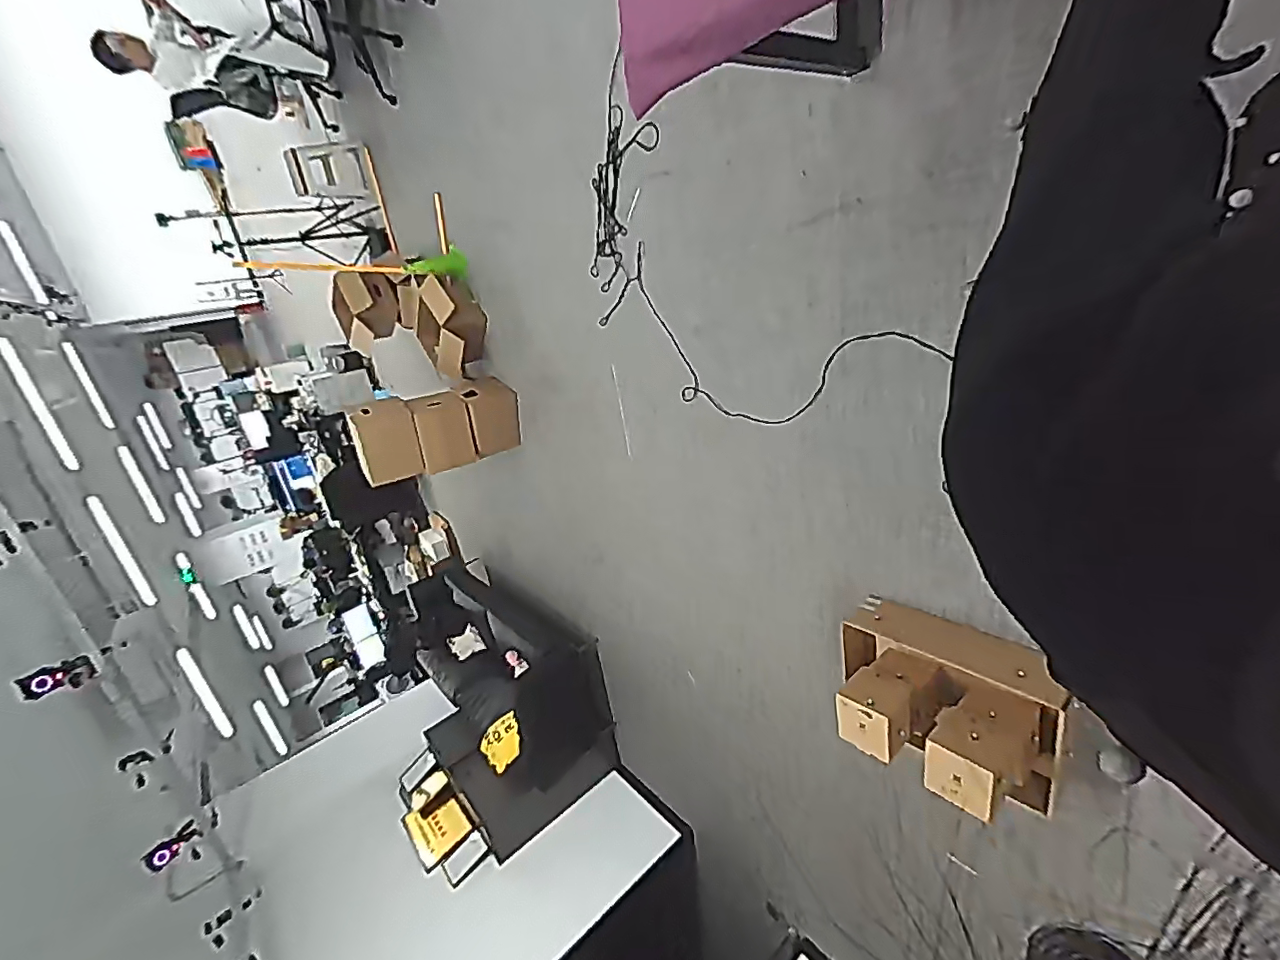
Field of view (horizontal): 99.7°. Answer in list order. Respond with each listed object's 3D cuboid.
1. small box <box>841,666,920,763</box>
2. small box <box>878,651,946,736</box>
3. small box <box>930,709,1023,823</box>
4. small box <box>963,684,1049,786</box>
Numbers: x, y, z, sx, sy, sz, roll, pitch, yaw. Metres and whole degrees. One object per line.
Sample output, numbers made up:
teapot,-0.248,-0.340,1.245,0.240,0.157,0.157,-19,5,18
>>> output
small box,0.743,0.714,1.664,0.168,0.176,0.179,13,120,50
small box,0.875,0.684,1.757,0.179,0.176,0.168,9,115,53
small box,0.911,0.762,1.462,0.168,0.176,0.179,16,121,50
small box,1.044,0.718,1.548,0.179,0.176,0.168,11,117,53
